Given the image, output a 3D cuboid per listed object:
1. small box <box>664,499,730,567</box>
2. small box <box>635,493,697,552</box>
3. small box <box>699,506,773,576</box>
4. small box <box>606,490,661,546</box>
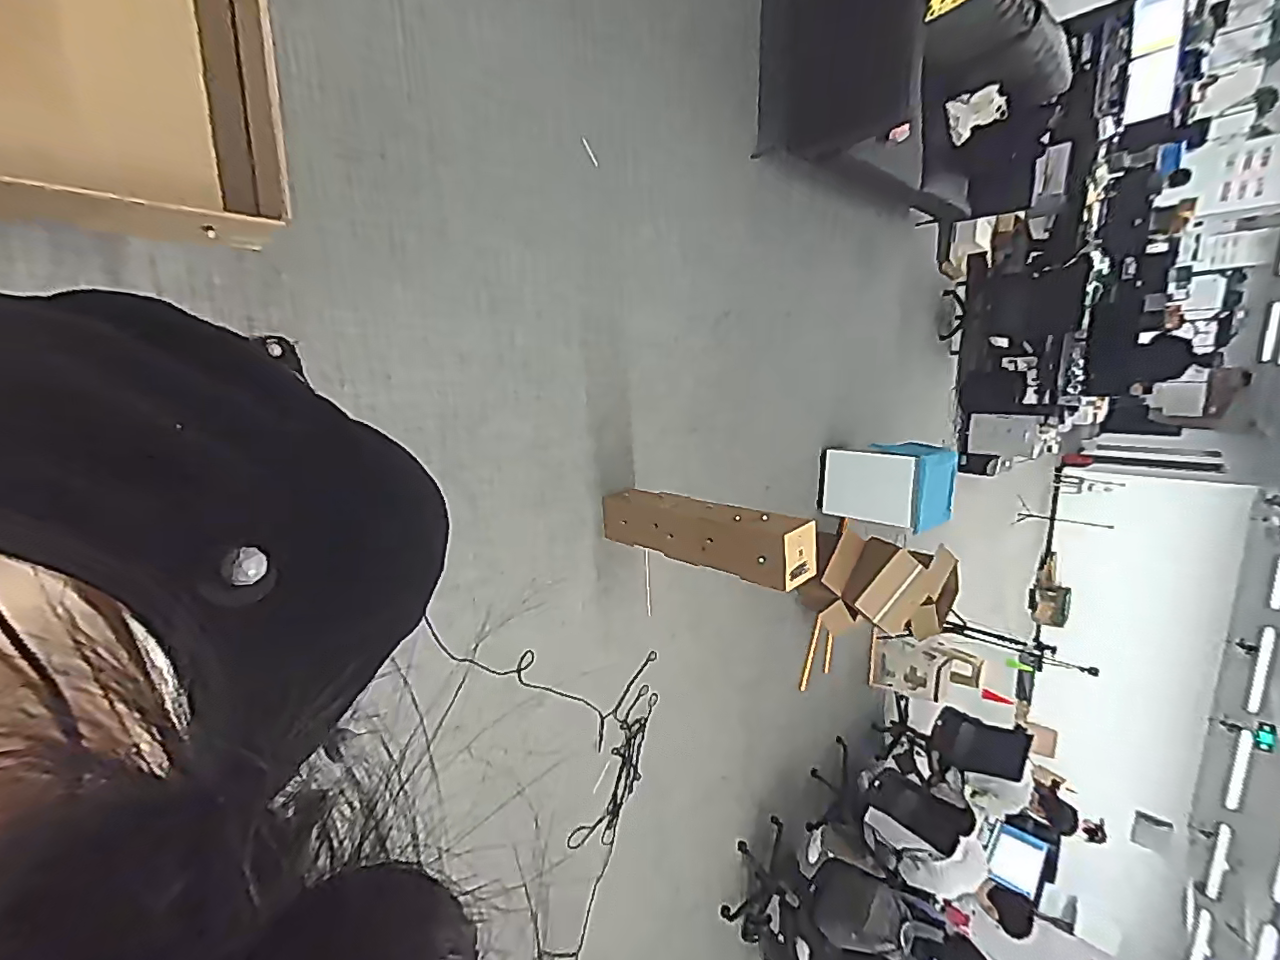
[{"bbox_3d":[0.197,0.175,1.854,0.168,0.176,0.179,-16,108,-42],"label":"small box"},{"bbox_3d":[0.094,0.149,1.978,0.168,0.176,0.179,-13,105,-42],"label":"small box"},{"bbox_3d":[0.308,0.189,1.735,0.179,0.176,0.168,-15,107,-41],"label":"small box"},{"bbox_3d":[-0.020,0.140,2.096,0.168,0.176,0.179,-13,107,-43],"label":"small box"}]
